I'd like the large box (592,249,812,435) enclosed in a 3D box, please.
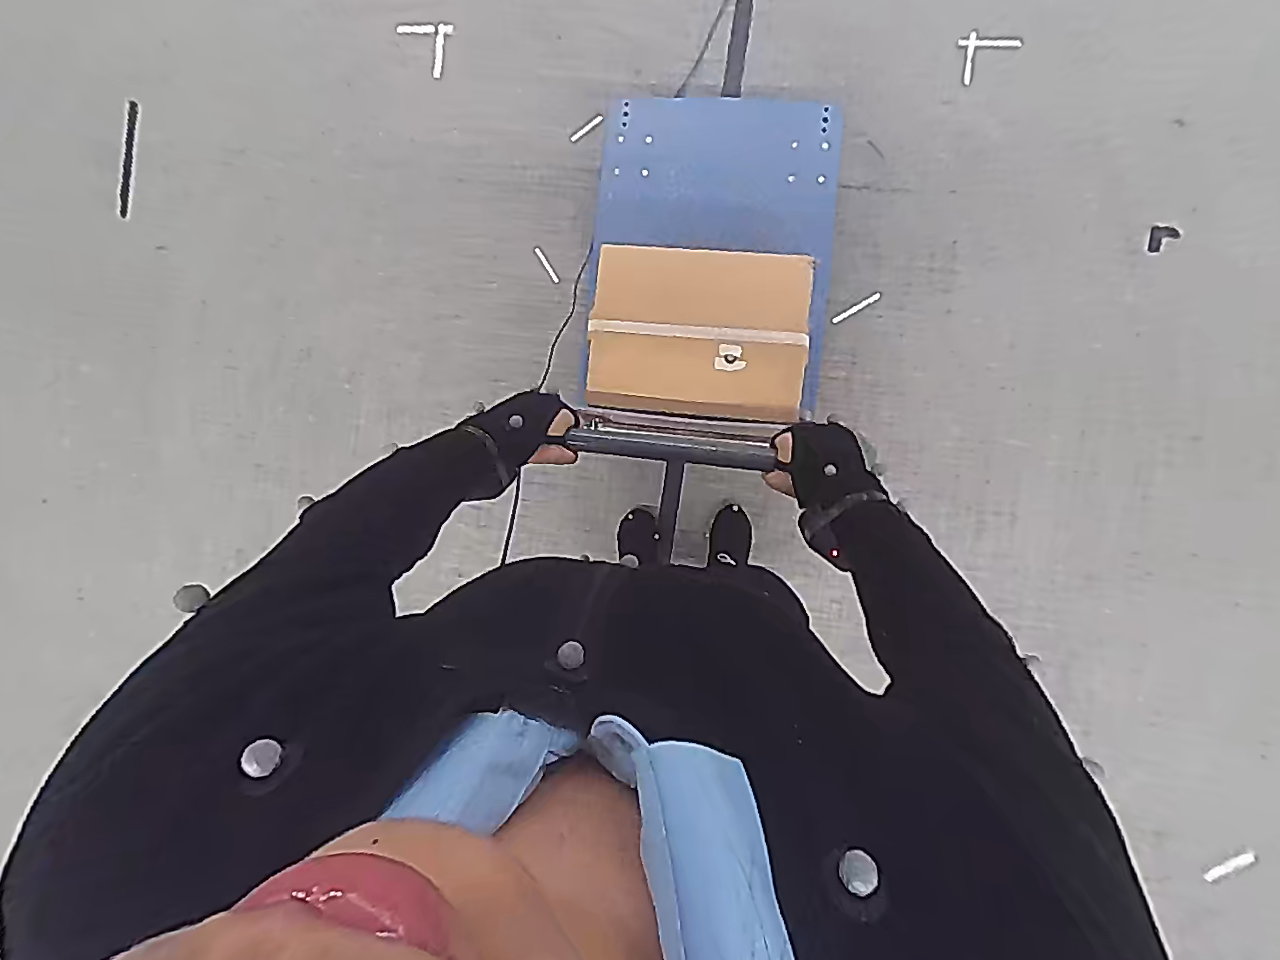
[{"bbox_3d":[0.127,-0.279,1.182,0.408,0.320,0.320,6,91,5],"label":"large box"}]
